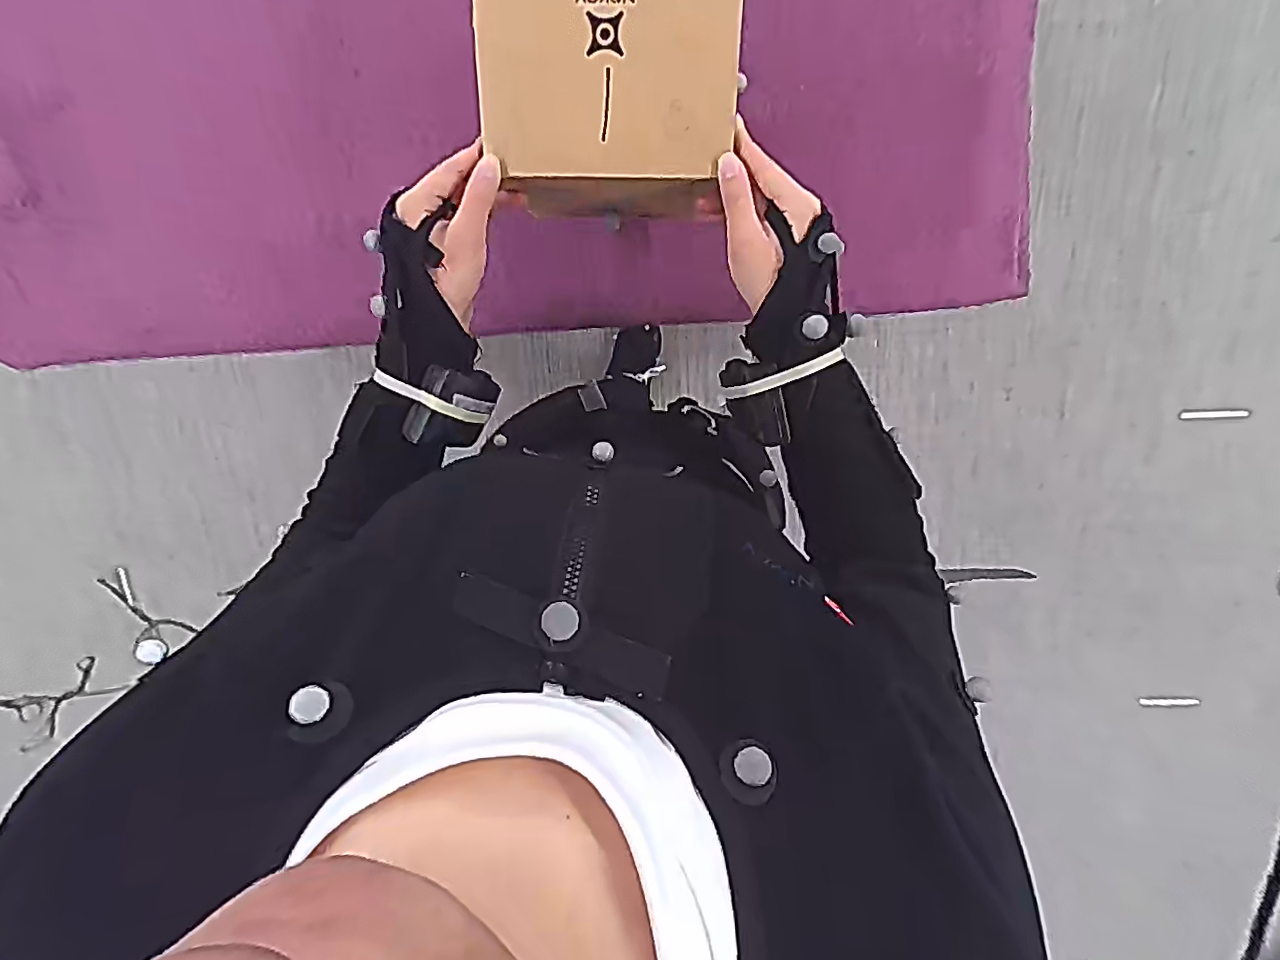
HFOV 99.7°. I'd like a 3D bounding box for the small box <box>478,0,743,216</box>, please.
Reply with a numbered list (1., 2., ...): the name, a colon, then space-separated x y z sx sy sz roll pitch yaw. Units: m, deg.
1. small box: -0.018 -0.313 0.409 0.168 0.176 0.179 2 107 1
